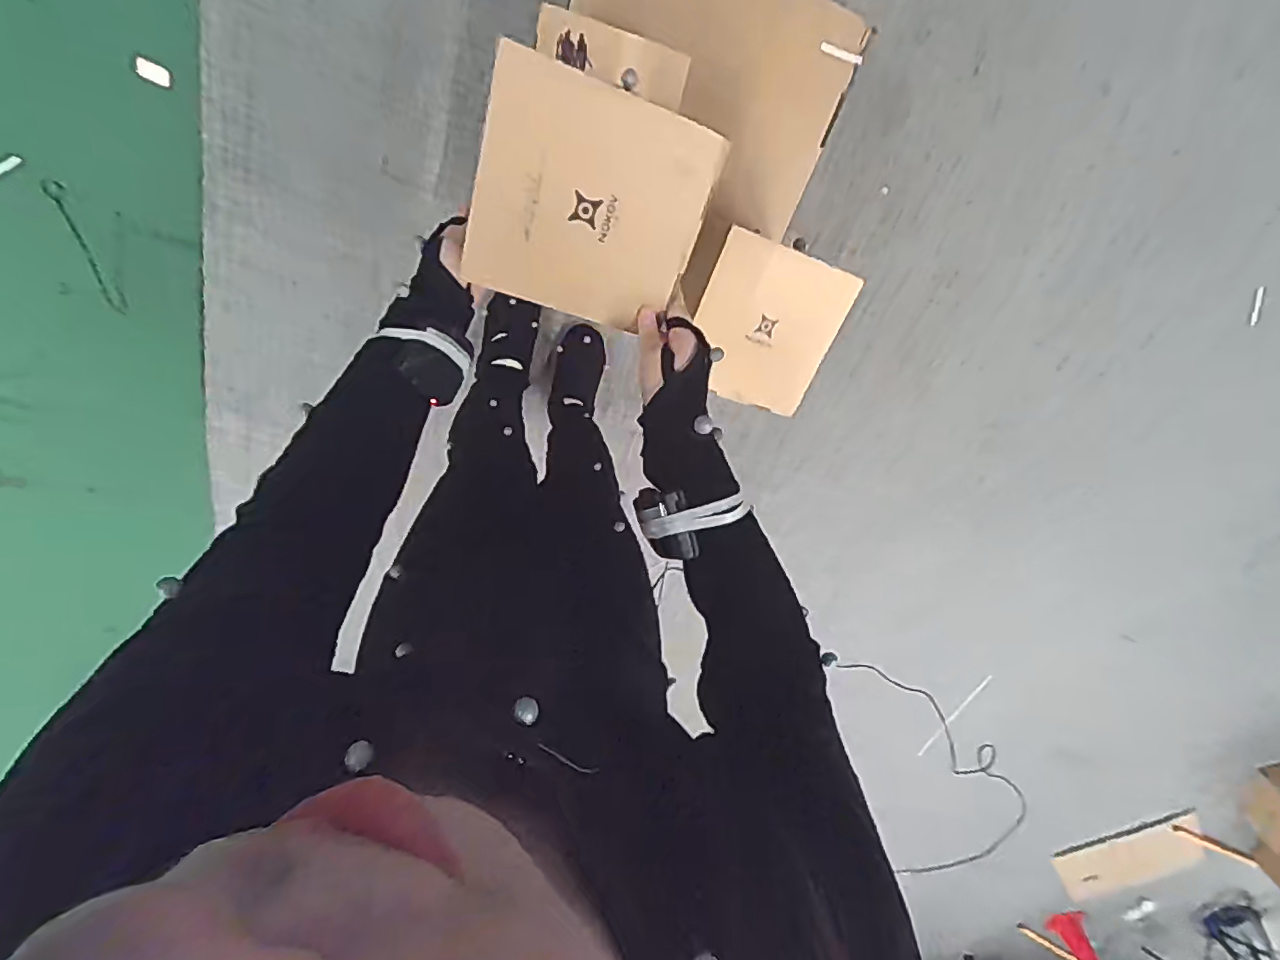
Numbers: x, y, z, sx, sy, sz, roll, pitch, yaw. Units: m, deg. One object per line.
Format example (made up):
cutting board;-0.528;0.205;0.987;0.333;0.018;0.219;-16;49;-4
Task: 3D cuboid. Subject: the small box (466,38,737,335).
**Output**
small box;-0.042;-0.261;0.491;0.179;0.176;0.168;15;122;-16

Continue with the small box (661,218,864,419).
small box;0.134;-0.207;0.675;0.168;0.176;0.179;16;118;-15
